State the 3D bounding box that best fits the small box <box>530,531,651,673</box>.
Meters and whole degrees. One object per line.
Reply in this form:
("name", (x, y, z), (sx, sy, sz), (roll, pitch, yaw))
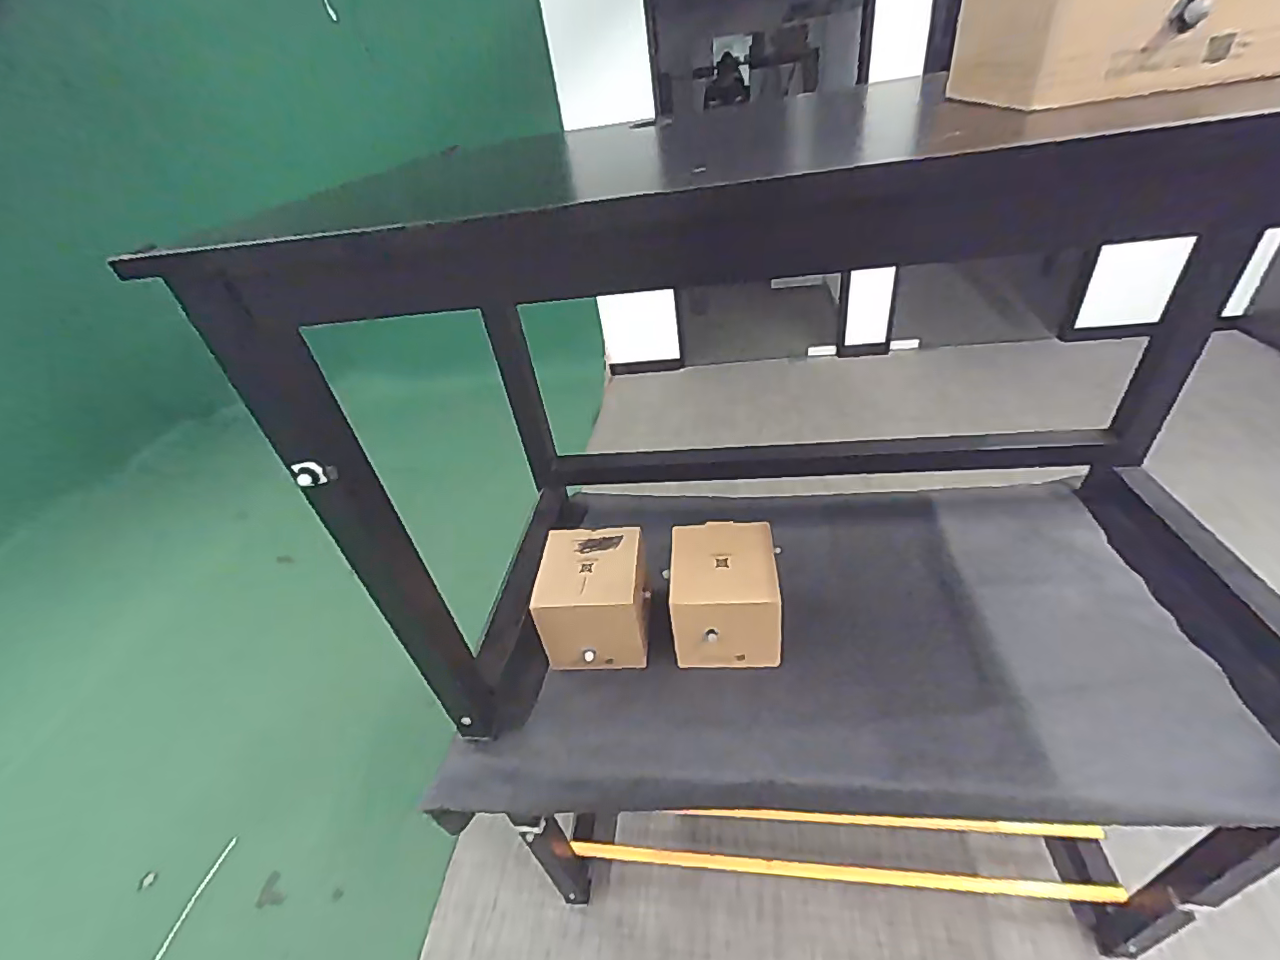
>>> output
("small box", (-0.074, 0.209, 0.934), (0.168, 0.176, 0.179), (-4, 37, 8))
